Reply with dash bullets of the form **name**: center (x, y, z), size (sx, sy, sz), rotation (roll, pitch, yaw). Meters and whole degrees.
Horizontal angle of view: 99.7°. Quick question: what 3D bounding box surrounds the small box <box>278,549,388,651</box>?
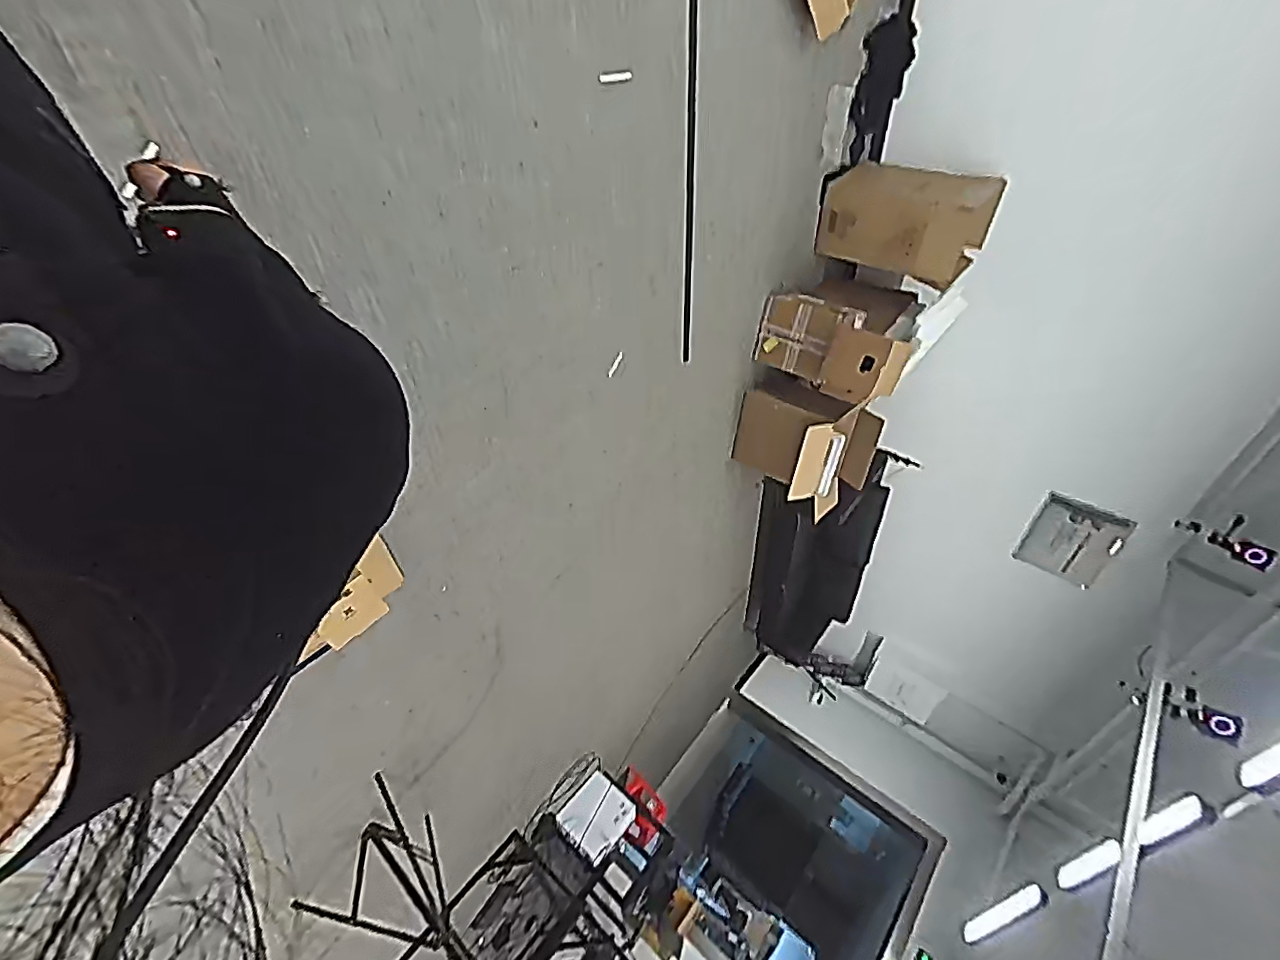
- **small box**: center (-0.827, 0.318, 1.461), size (0.168, 0.176, 0.179), rotation (-42, 145, -30)
